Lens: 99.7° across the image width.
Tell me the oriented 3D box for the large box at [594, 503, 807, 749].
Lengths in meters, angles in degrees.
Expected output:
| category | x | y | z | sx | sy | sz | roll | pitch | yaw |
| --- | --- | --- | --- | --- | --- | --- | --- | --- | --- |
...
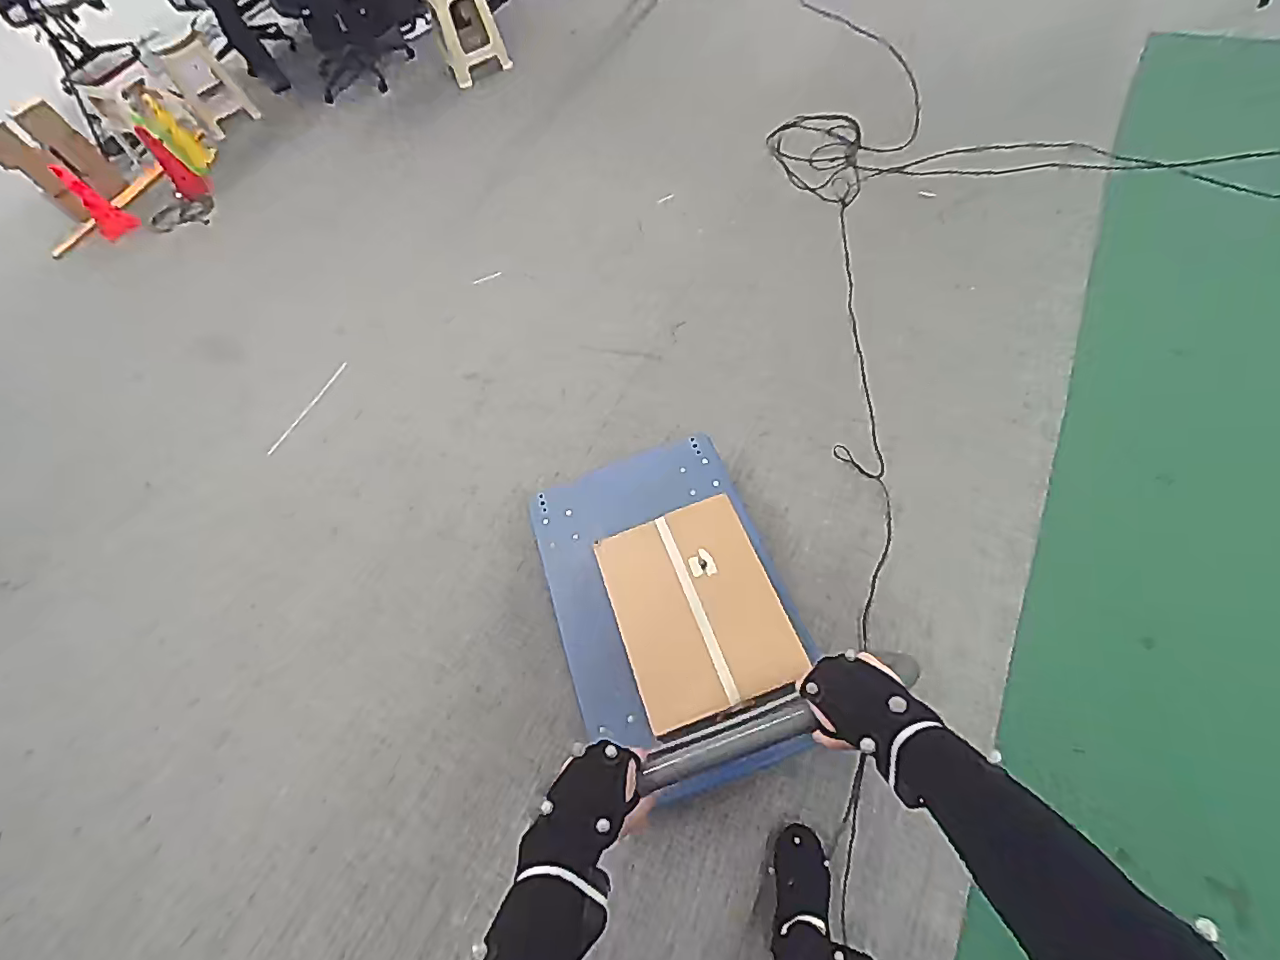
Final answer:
| category | x | y | z | sx | sy | sz | roll | pitch | yaw |
| --- | --- | --- | --- | --- | --- | --- | --- | --- | --- |
| large box | 0.131 | 0.334 | 1.217 | 0.320 | 0.320 | 0.408 | -21 | 58 | -2 |
